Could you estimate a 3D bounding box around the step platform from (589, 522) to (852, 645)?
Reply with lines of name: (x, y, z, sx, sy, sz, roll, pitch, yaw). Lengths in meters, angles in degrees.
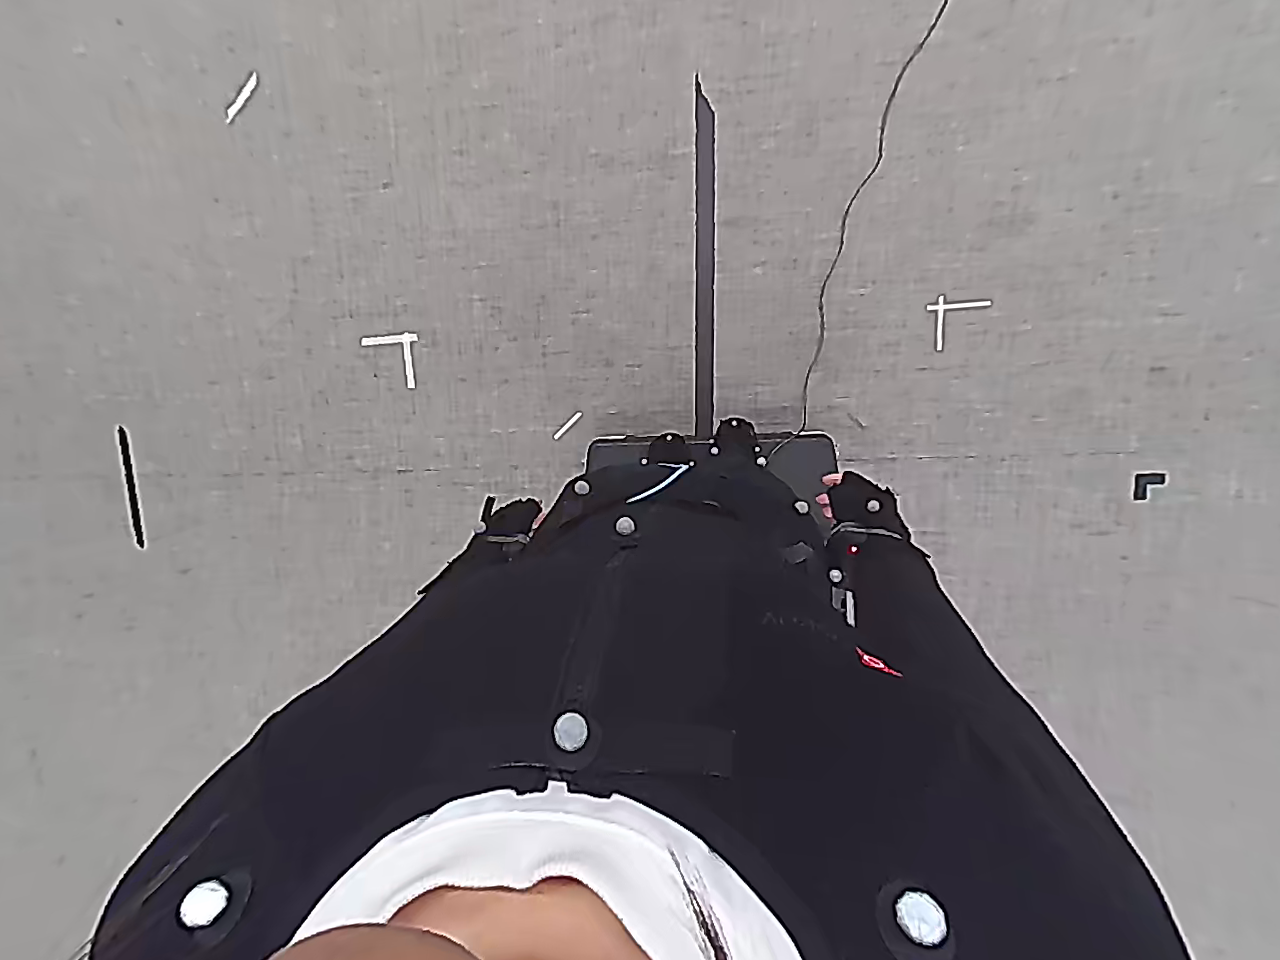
step platform: (0.205, 0.277, 1.456, 0.684, 0.204, 0.286, -2, 96, 8)
